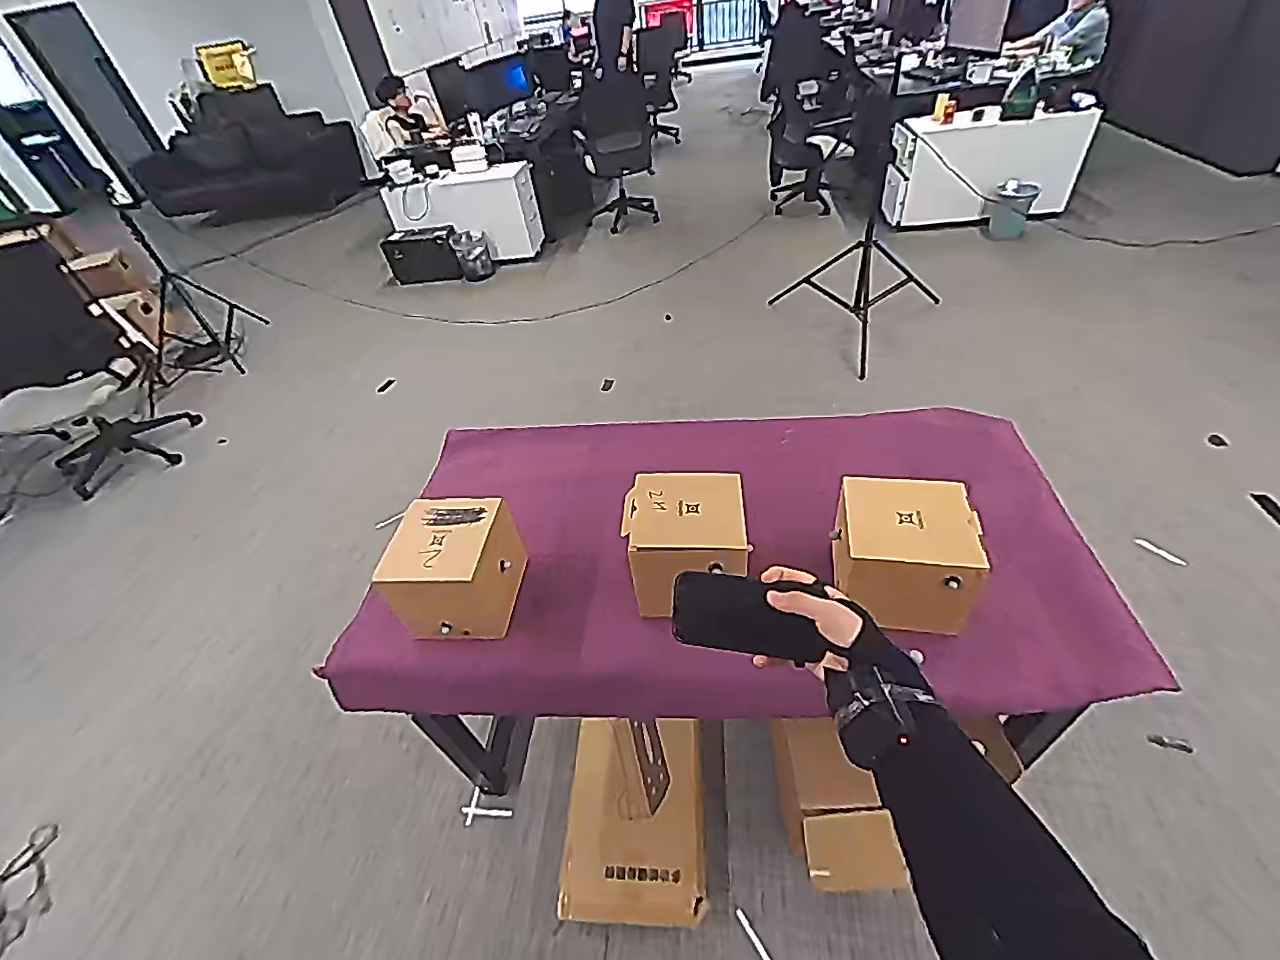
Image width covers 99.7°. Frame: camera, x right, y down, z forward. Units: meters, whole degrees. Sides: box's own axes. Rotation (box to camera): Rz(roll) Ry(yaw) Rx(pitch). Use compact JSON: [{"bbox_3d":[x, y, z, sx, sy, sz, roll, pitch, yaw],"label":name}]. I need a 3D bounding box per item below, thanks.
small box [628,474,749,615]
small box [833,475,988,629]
[{"bbox_3d":[0.083,0.108,0.889,0.179,0.176,0.168,-3,41,8],"label":"small box"},{"bbox_3d":[0.396,0.111,0.830,0.179,0.176,0.168,3,44,13],"label":"small box"}]
